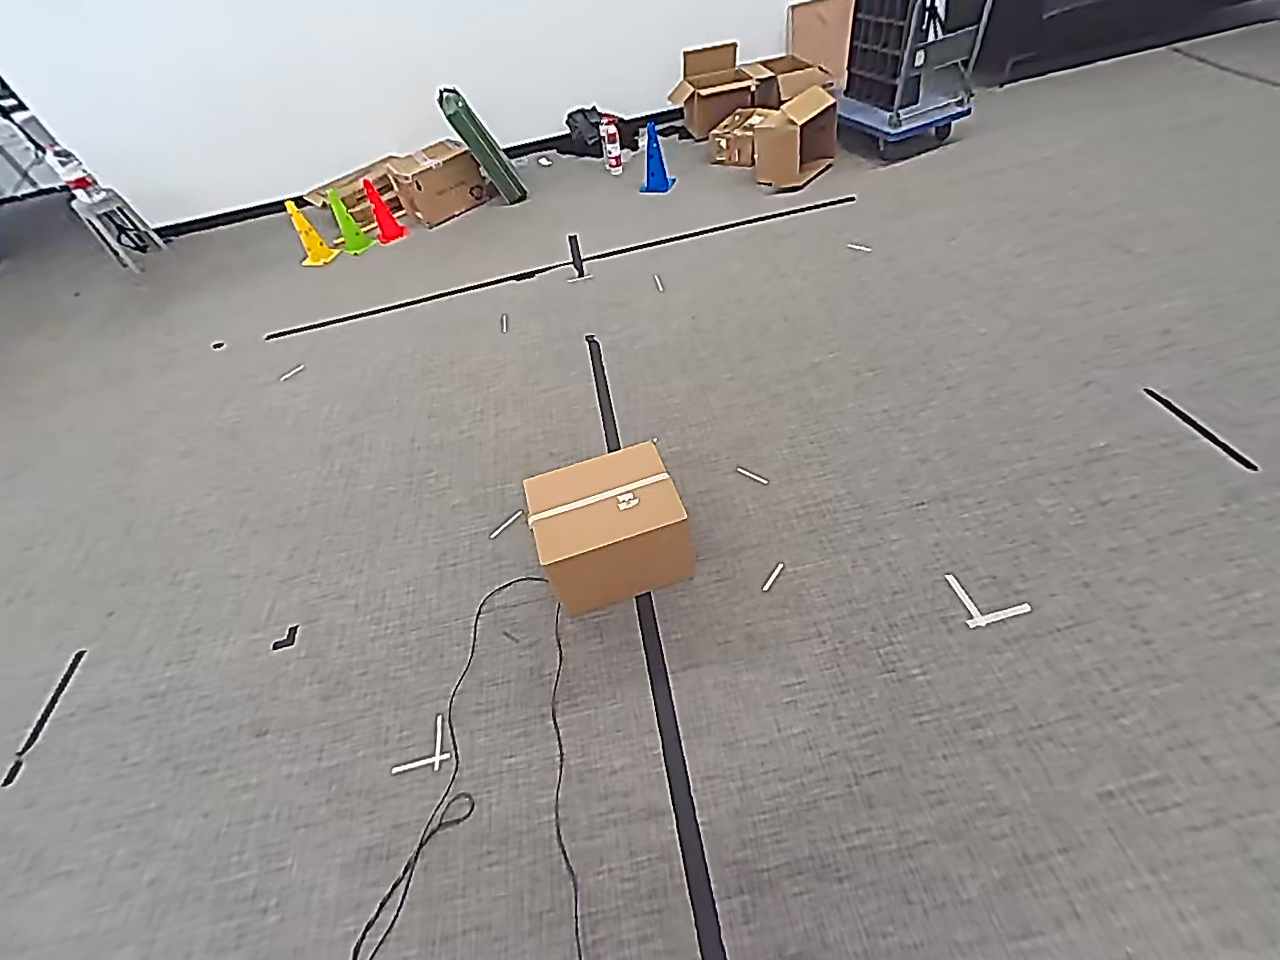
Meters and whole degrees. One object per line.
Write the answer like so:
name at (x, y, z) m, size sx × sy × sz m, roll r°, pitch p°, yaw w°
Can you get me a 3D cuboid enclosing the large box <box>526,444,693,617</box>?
large box at (-0.086, 0.152, 1.609) m, size 0.408 × 0.320 × 0.320 m, roll -17°, pitch 50°, yaw -5°
